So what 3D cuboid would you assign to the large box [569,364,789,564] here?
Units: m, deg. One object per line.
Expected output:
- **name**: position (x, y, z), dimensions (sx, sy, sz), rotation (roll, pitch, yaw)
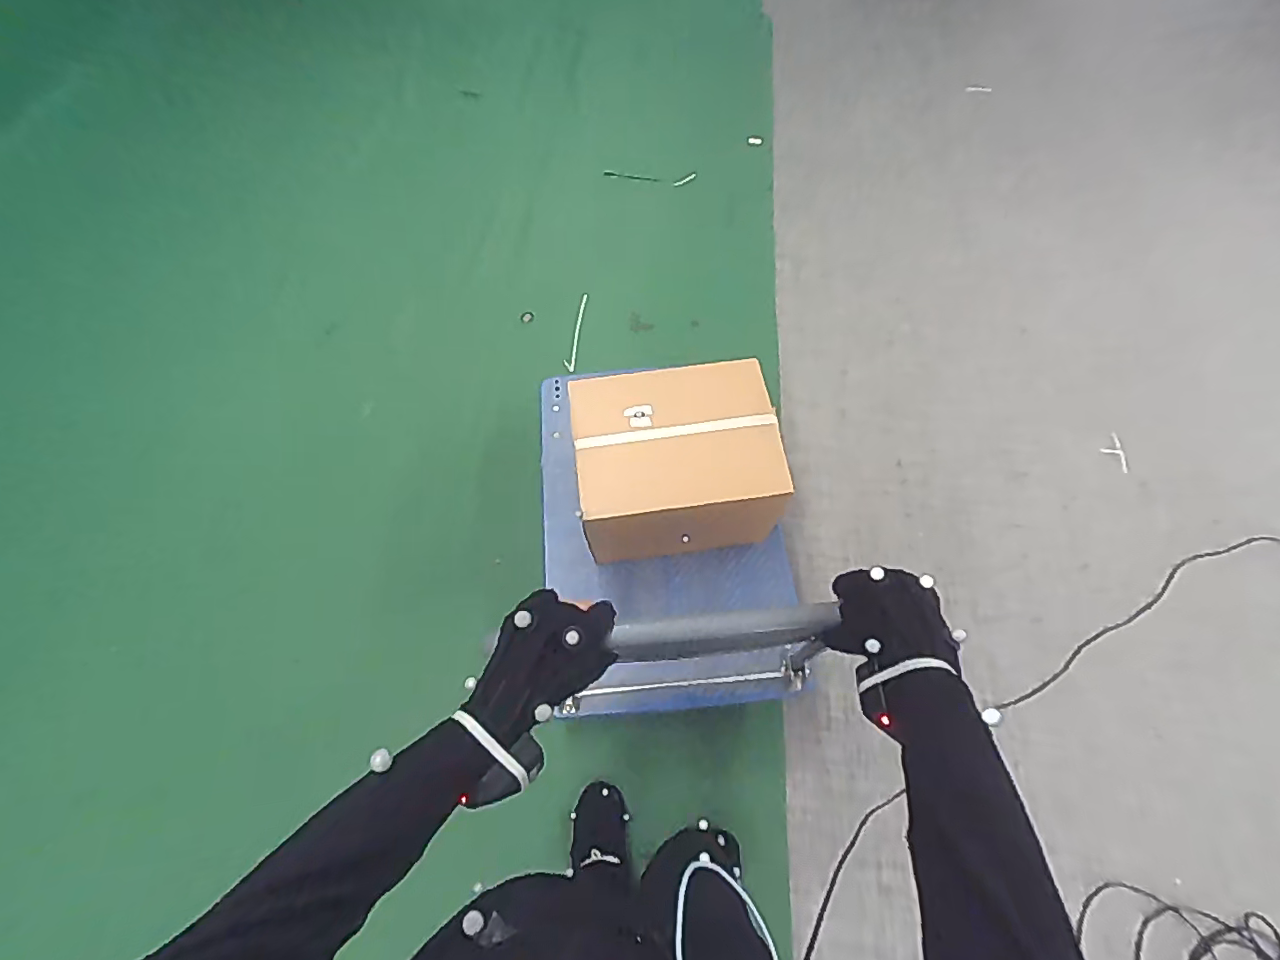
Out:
- **large box**: position (0.073, -0.021, 1.221), dimensions (0.408, 0.320, 0.320), rotation (-8, 66, -2)
